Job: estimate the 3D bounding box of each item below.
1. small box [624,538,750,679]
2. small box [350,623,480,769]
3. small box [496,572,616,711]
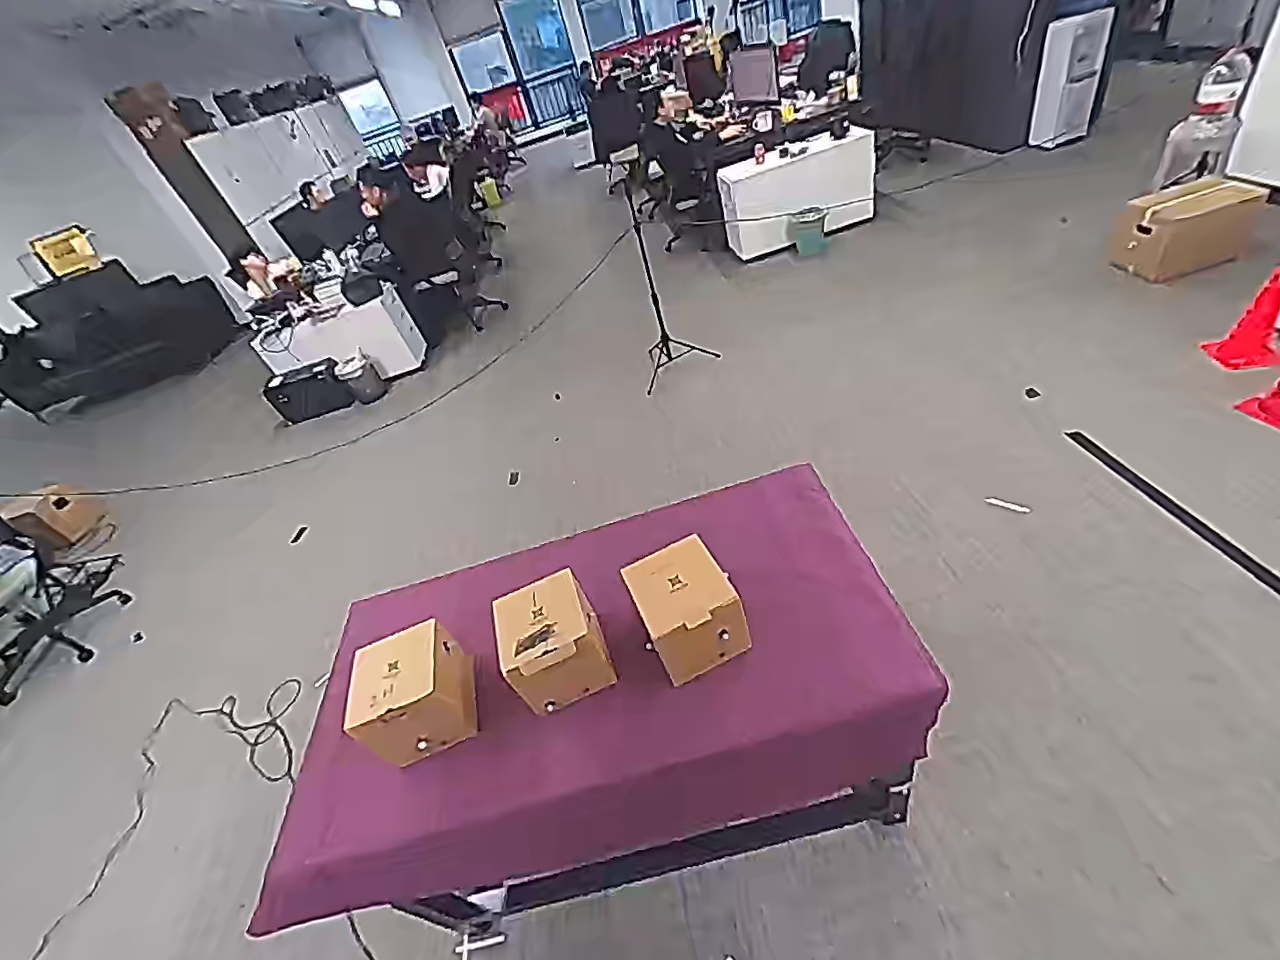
[{"bbox_3d":[0.091,0.250,1.026,0.168,0.176,0.179,-25,39,-6],"label":"small box"},{"bbox_3d":[-0.426,0.418,1.050,0.168,0.176,0.179,-23,40,-3],"label":"small box"},{"bbox_3d":[-0.161,0.320,1.051,0.168,0.176,0.179,-24,39,-4],"label":"small box"}]
